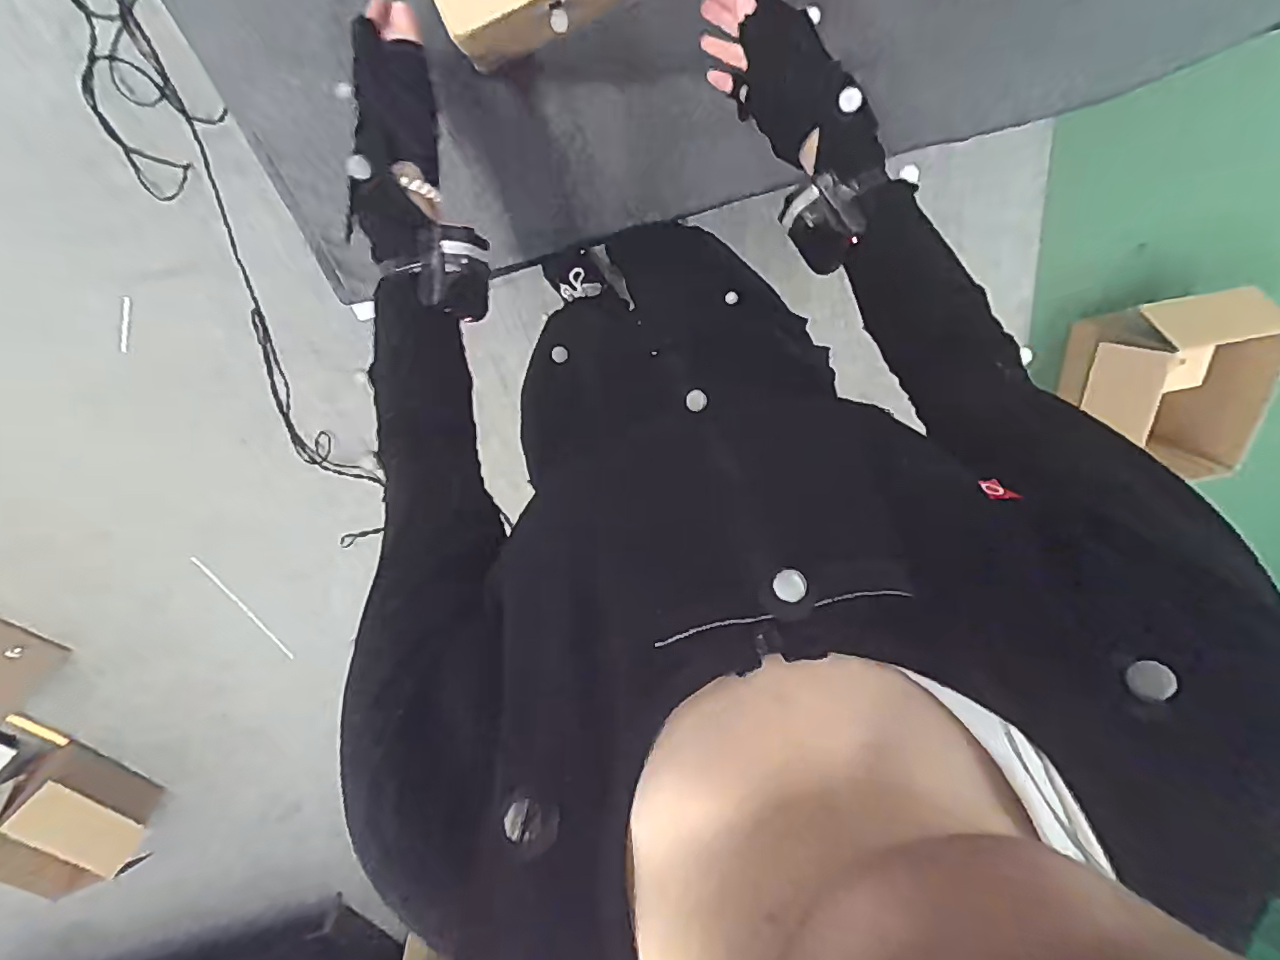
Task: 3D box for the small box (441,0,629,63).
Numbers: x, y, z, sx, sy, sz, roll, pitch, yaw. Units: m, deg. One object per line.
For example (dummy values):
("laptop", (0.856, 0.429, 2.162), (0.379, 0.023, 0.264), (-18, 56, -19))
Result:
("small box", (-0.087, -0.451, 0.405), (0.179, 0.176, 0.168), (-21, 121, 6))
